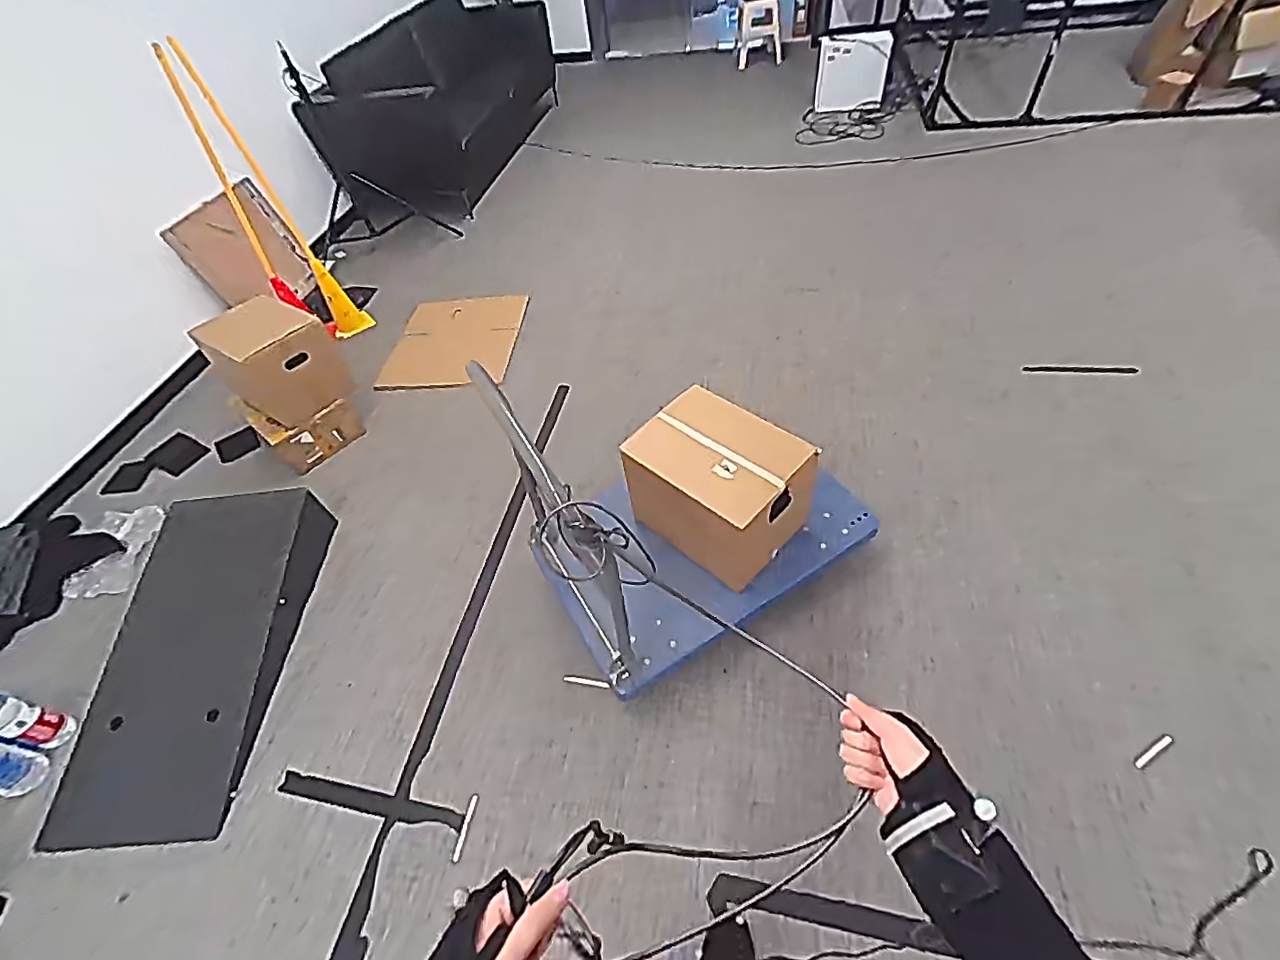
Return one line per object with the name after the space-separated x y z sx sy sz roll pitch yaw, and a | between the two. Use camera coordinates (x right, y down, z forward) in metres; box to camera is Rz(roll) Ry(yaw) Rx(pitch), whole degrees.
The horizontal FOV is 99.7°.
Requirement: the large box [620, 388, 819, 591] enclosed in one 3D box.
0.205 0.020 1.467 0.408 0.320 0.320 34 64 29 | large box
